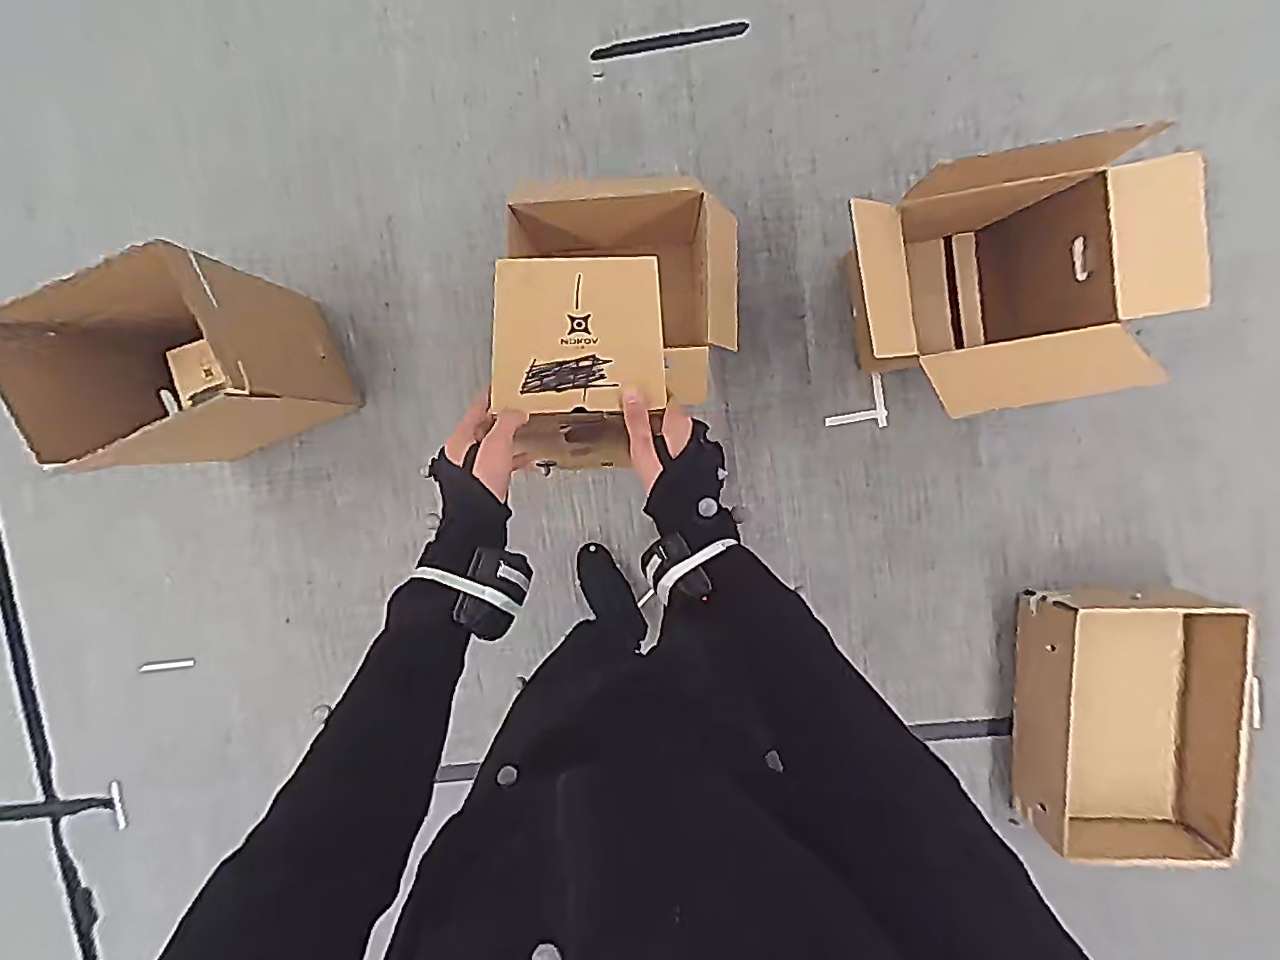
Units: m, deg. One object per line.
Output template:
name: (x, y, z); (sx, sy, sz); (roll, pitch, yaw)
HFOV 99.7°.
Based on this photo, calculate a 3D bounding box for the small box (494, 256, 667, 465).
small box: (-0.059, -0.120, 0.603); (0.168, 0.176, 0.179); (-2, 72, -3)
